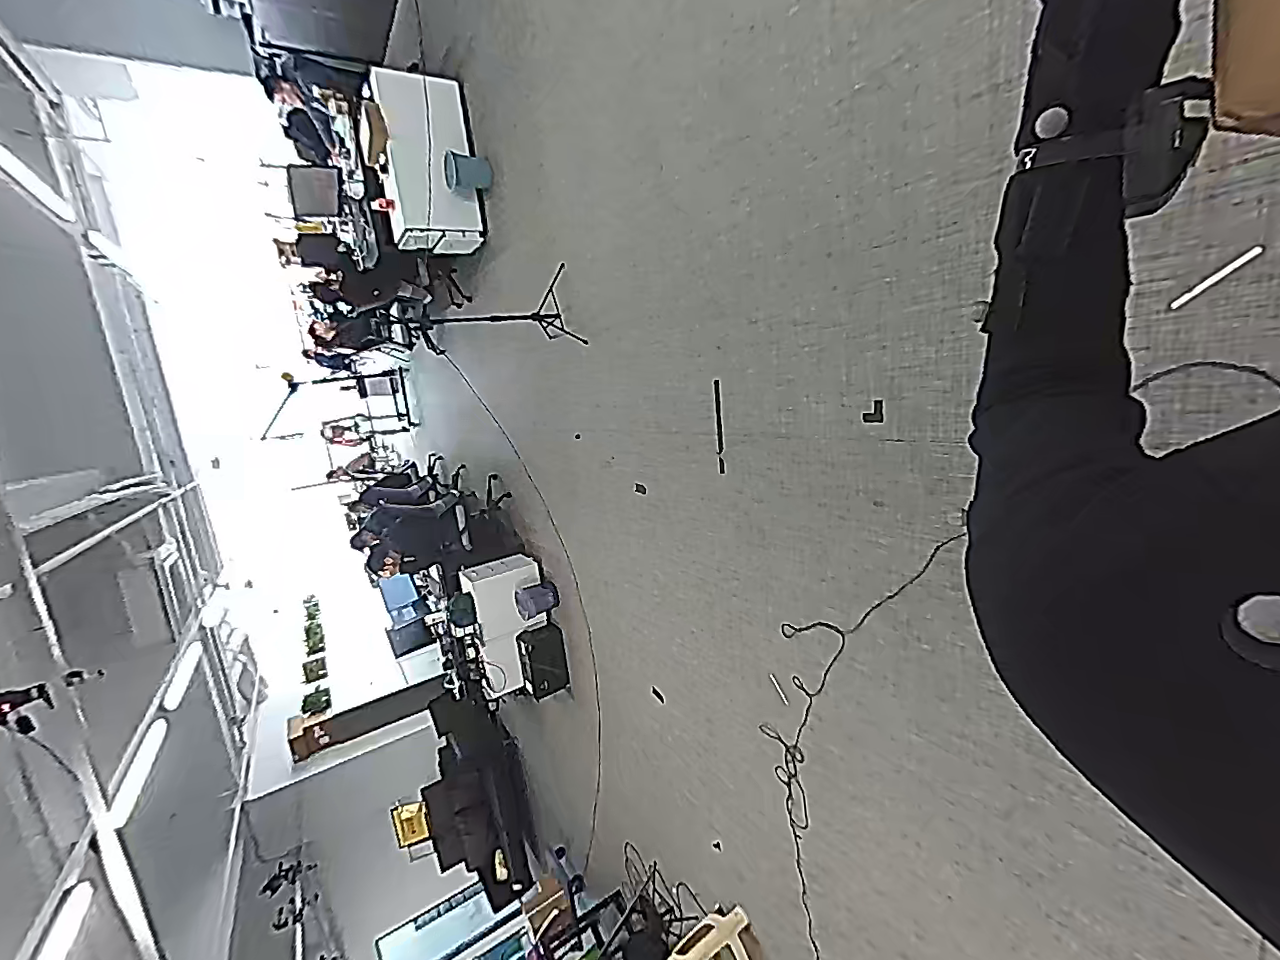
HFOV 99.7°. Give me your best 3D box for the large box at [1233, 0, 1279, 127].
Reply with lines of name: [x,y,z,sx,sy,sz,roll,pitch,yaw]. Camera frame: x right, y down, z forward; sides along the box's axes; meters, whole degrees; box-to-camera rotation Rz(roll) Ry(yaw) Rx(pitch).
large box: [0.522,-0.374,0.181,0.408,0.320,0.320,6,114,56]
